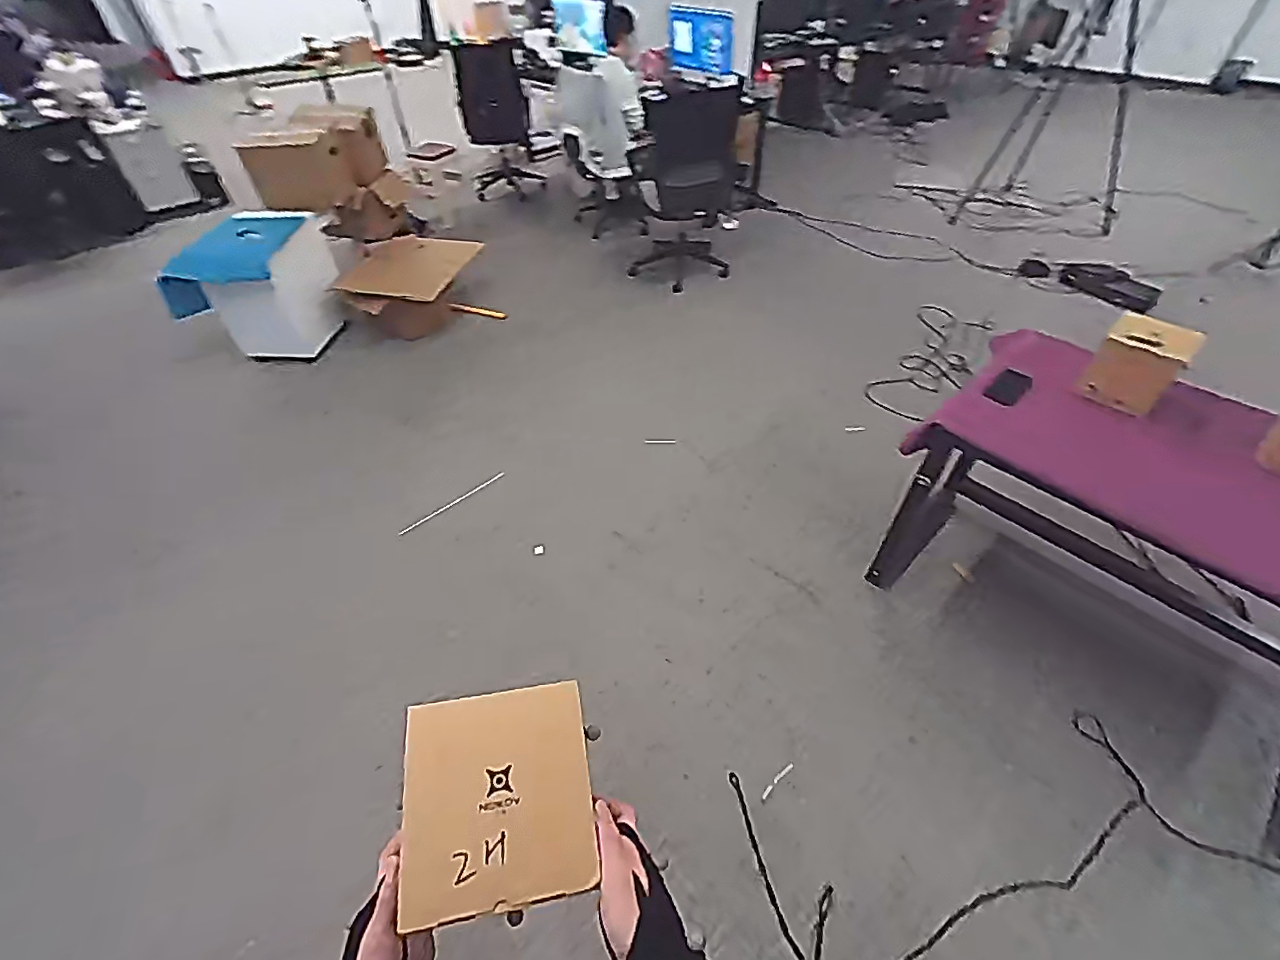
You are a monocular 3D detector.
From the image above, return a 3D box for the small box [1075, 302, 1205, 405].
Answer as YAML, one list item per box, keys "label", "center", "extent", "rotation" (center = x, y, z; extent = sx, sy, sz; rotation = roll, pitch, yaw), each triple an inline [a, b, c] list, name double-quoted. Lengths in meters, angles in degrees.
- label: "small box"
  center: [1.247, -0.317, 1.360]
  extent: [0.179, 0.176, 0.168]
  rotation: [-35, 54, -27]

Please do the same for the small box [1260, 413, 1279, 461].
- label: "small box"
  center: [1.508, -0.119, 1.159]
  extent: [0.179, 0.176, 0.168]
  rotation: [-35, 53, -25]

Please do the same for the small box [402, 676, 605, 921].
- label: "small box"
  center: [-0.130, 0.322, 0.554]
  extent: [0.168, 0.176, 0.179]
  rotation: [-6, 55, -9]
